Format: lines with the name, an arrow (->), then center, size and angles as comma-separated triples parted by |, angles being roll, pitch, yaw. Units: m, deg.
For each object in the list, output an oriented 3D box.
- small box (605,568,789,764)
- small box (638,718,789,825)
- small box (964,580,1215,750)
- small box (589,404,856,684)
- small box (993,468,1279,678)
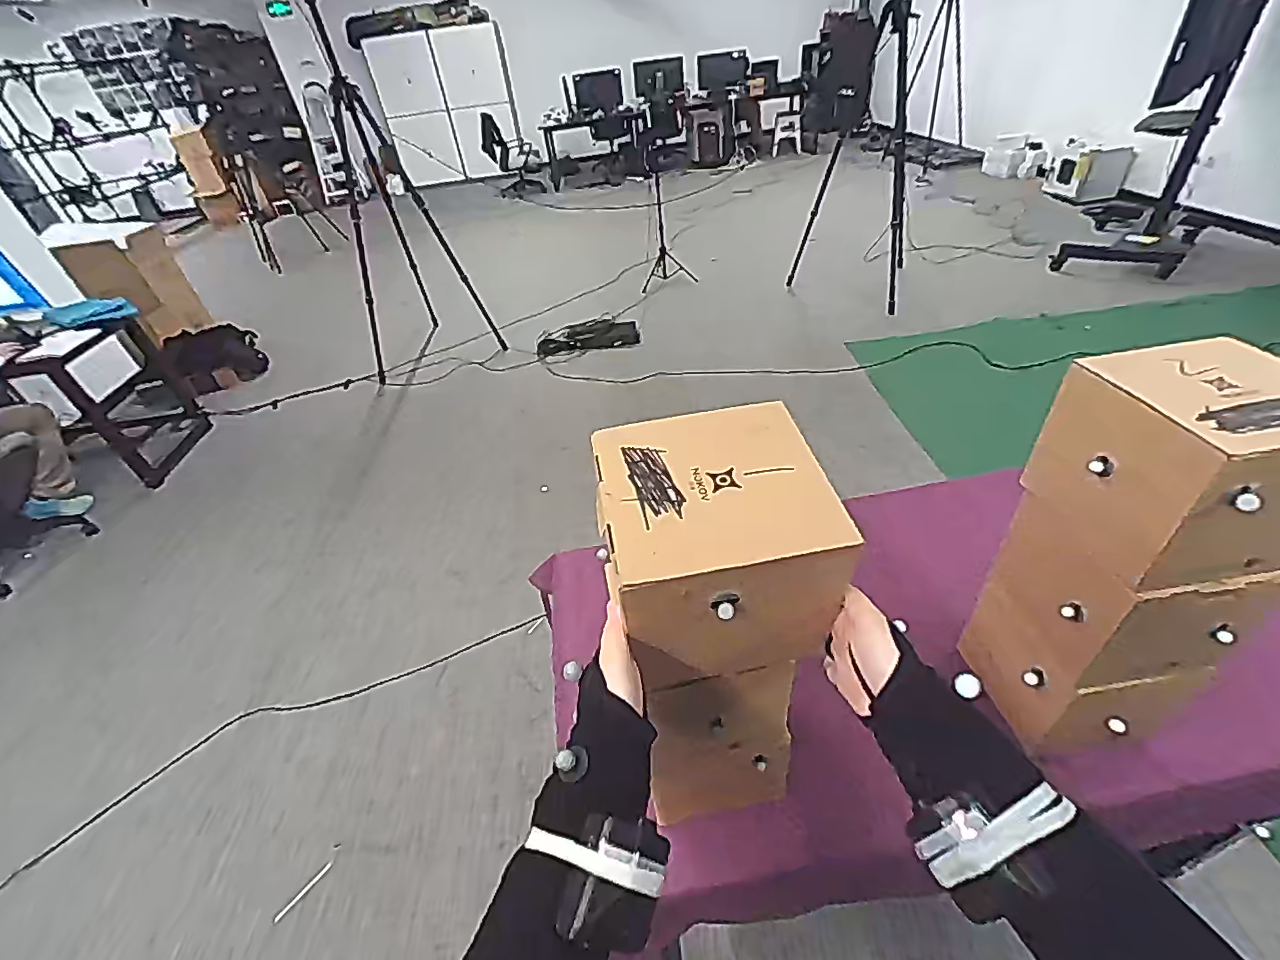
small box -> 0.061, 0.202, 0.626 | 0.168, 0.176, 0.179 | -11, 39, -4
small box -> 0.086, 0.331, 0.726 | 0.179, 0.176, 0.168 | -11, 38, -4
small box -> 0.581, 0.242, 0.732 | 0.168, 0.176, 0.179 | -10, 38, -1
small box -> 0.060, 0.060, 0.479 | 0.179, 0.176, 0.168 | -10, 46, -4
small box -> 0.560, 0.113, 0.634 | 0.168, 0.176, 0.179 | -9, 38, 1
